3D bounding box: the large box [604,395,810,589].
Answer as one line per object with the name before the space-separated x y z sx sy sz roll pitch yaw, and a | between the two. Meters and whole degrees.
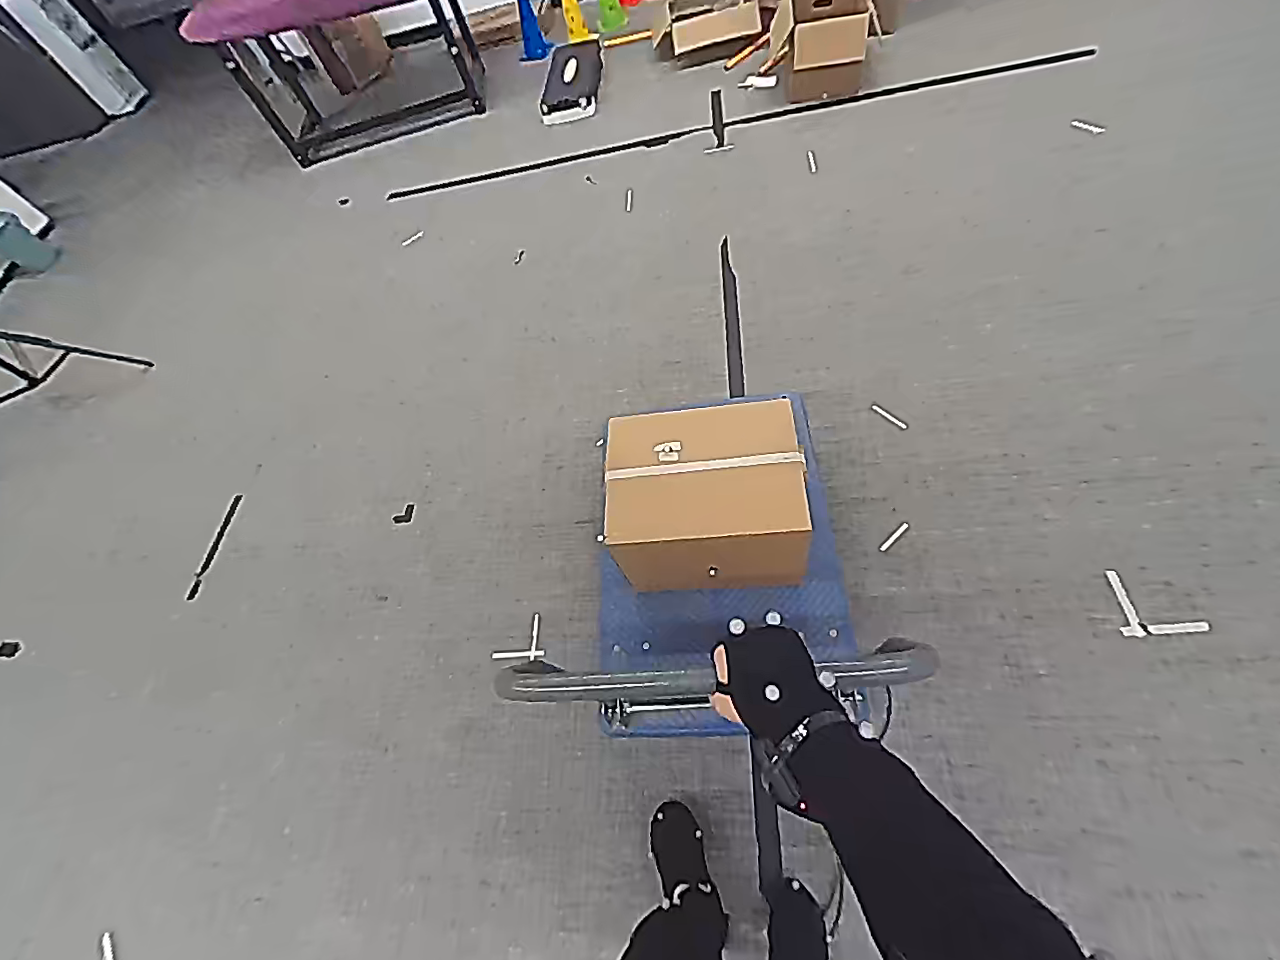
large box | 0.153 0.044 1.238 0.408 0.320 0.320 -6 58 11
